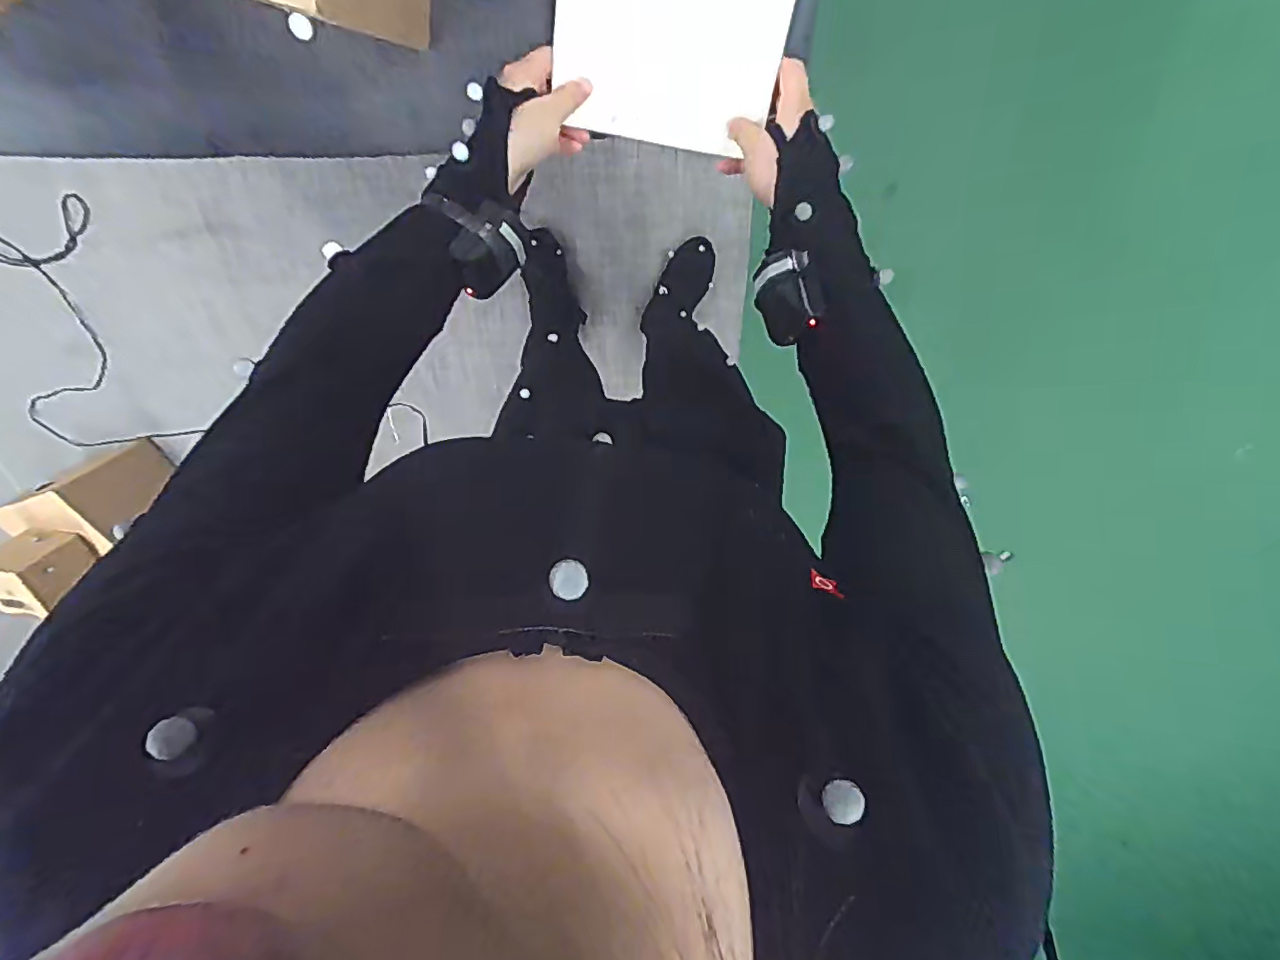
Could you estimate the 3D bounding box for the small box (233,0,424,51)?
[{"bbox_3d":[-0.265,-0.442,0.383,0.168,0.176,0.179,16,123,-2],"label":"small box"}]
